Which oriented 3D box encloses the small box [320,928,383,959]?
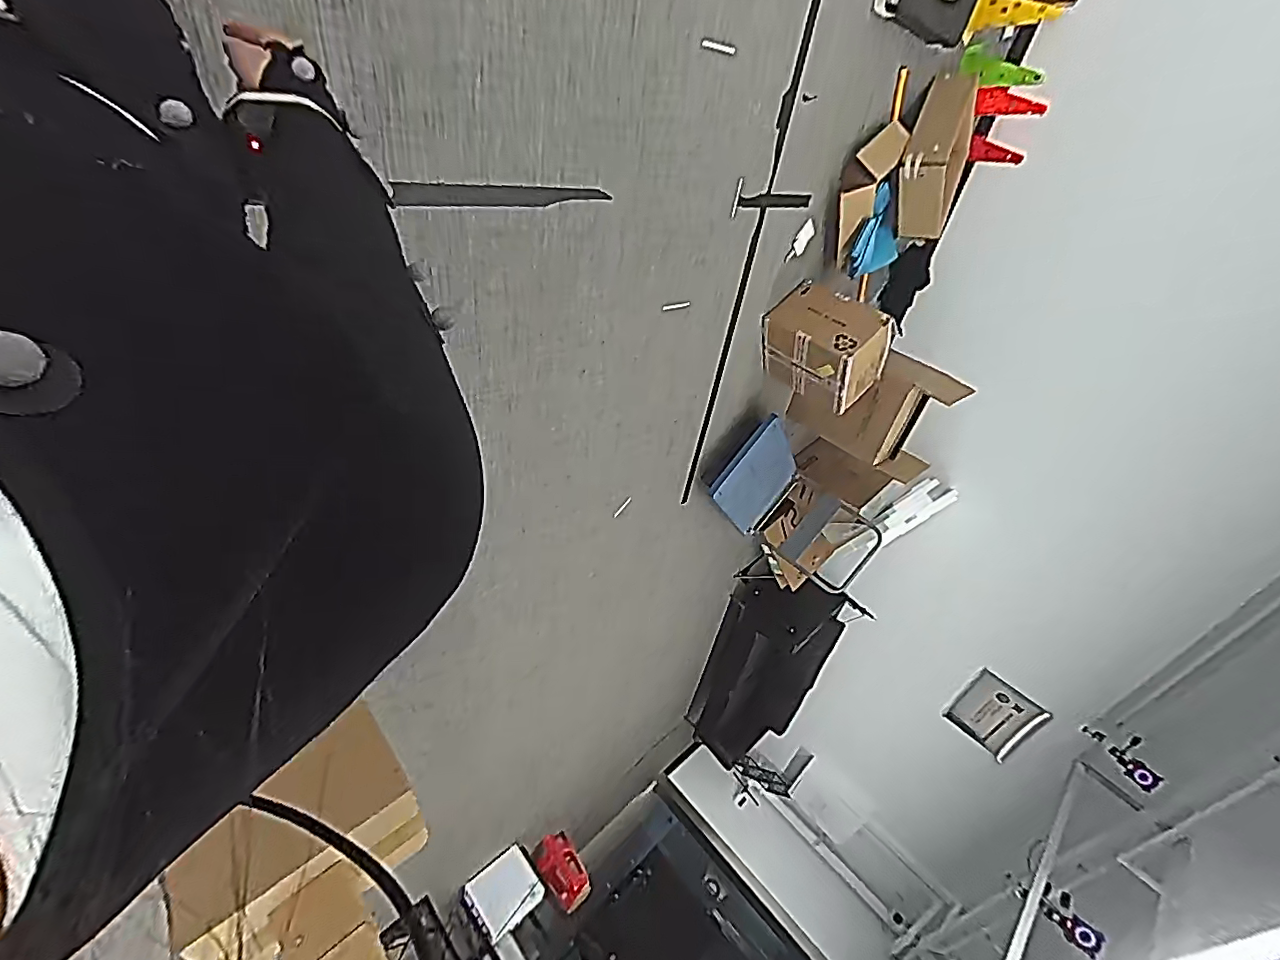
[{"bbox_3d":[-0.694,1.218,1.279,0.168,0.176,0.179,-27,142,-35],"label":"small box"}]
